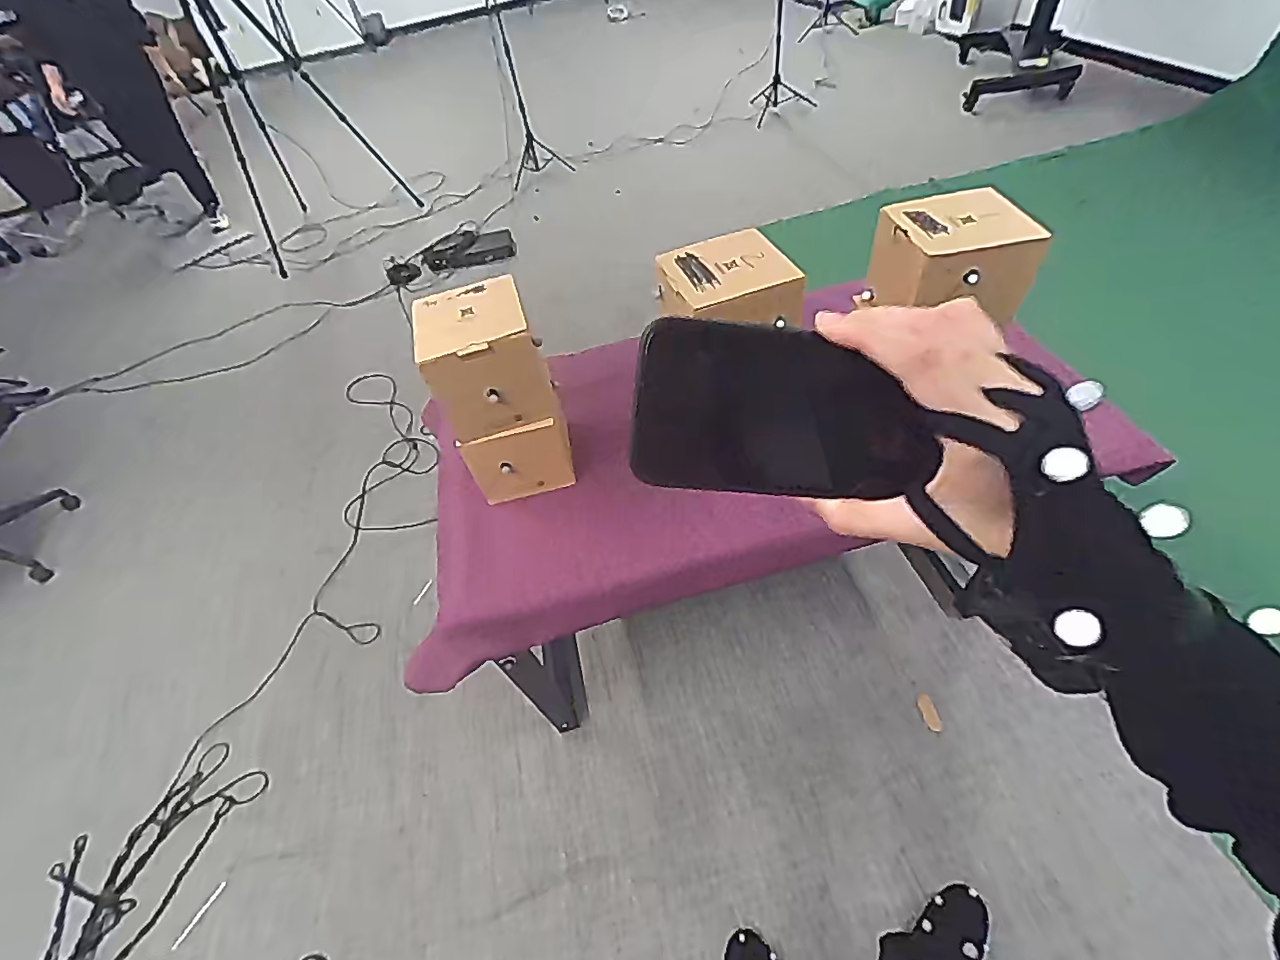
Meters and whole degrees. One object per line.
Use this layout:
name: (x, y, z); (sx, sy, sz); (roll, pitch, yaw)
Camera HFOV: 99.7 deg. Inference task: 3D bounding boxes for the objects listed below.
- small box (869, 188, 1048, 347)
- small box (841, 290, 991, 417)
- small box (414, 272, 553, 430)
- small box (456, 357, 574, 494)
small box: (0.481, -0.331, 0.857); (0.179, 0.176, 0.168); (-9, 50, 2)
small box: (0.491, -0.239, 0.993); (0.179, 0.176, 0.168); (-9, 50, 3)
small box: (-0.249, -0.200, 0.875); (0.168, 0.176, 0.179); (-17, 52, -5)
small box: (-0.225, -0.092, 0.997); (0.168, 0.176, 0.179); (-13, 51, -1)
